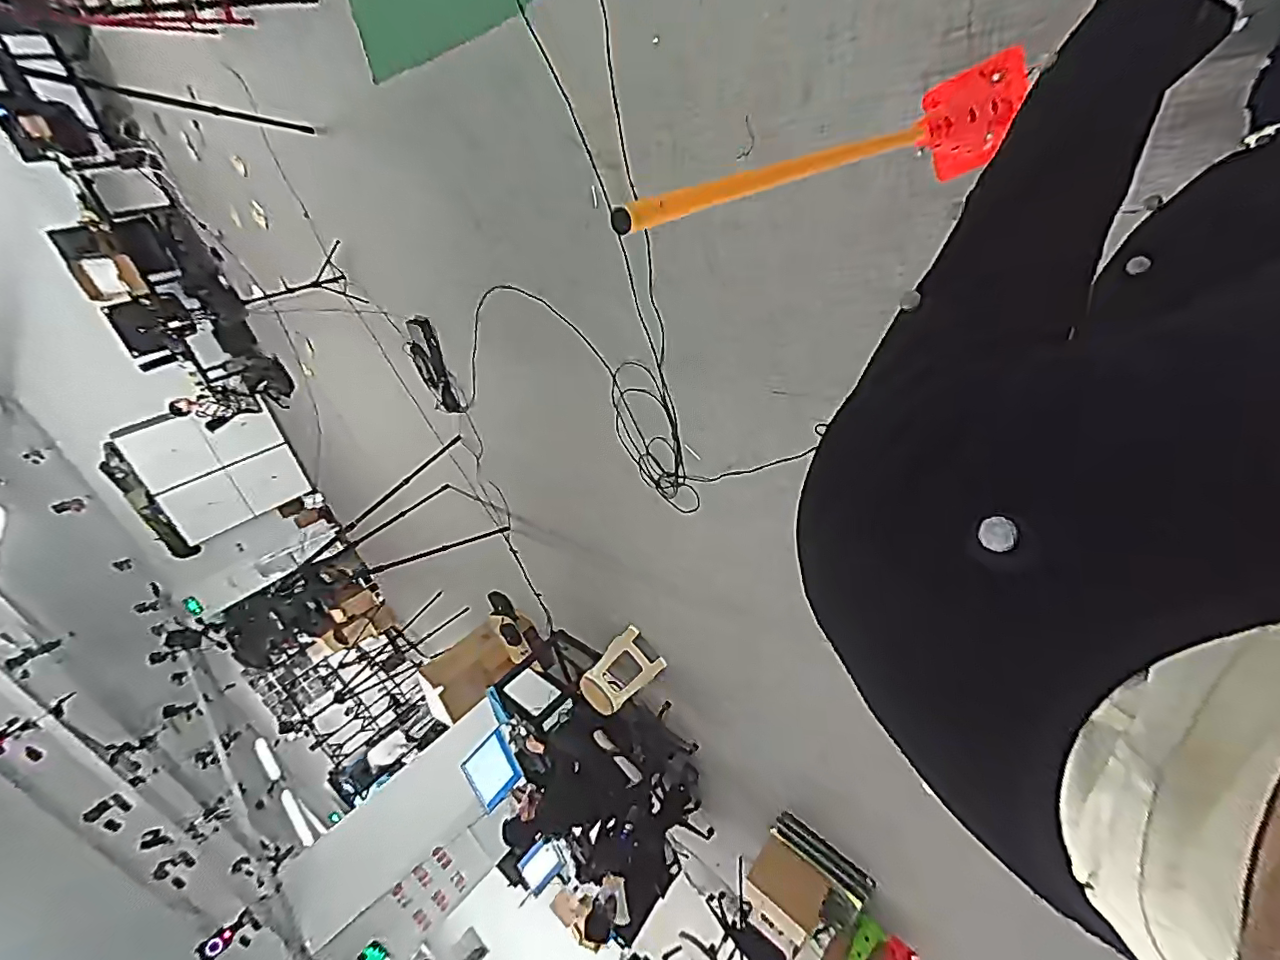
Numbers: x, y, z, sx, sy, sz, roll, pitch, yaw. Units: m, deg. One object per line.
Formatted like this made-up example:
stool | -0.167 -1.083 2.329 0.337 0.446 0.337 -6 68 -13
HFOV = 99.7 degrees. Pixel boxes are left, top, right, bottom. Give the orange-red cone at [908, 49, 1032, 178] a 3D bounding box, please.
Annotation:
orange-red cone | 0.635 -0.726 1.109 0.199 0.360 0.198 0 118 50
